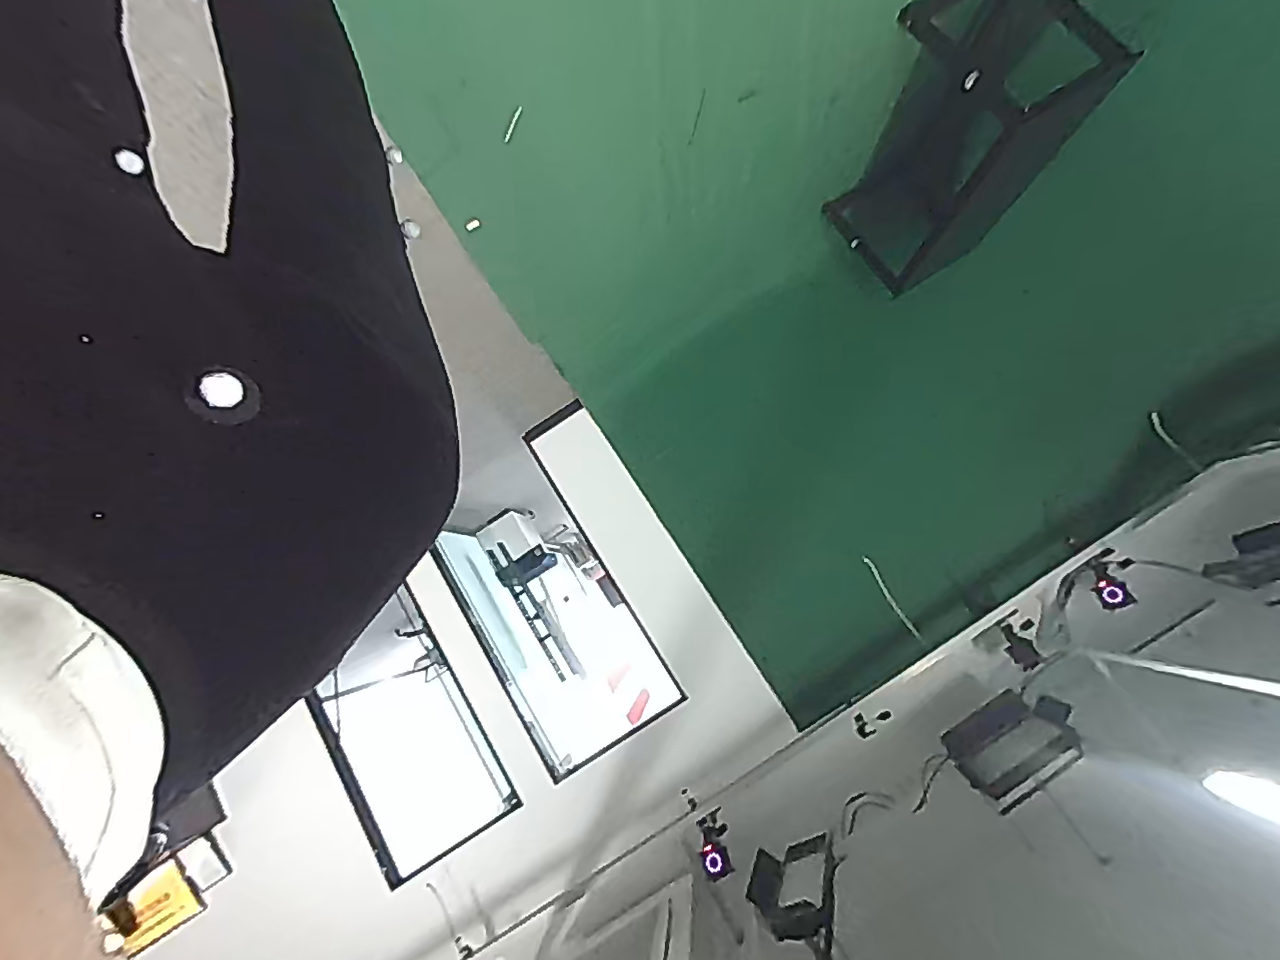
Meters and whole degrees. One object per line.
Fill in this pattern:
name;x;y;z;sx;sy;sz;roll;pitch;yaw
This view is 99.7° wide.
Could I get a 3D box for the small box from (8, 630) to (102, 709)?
small box;-1.939;0.622;1.795;0.168;0.176;0.179;-22;163;-44
